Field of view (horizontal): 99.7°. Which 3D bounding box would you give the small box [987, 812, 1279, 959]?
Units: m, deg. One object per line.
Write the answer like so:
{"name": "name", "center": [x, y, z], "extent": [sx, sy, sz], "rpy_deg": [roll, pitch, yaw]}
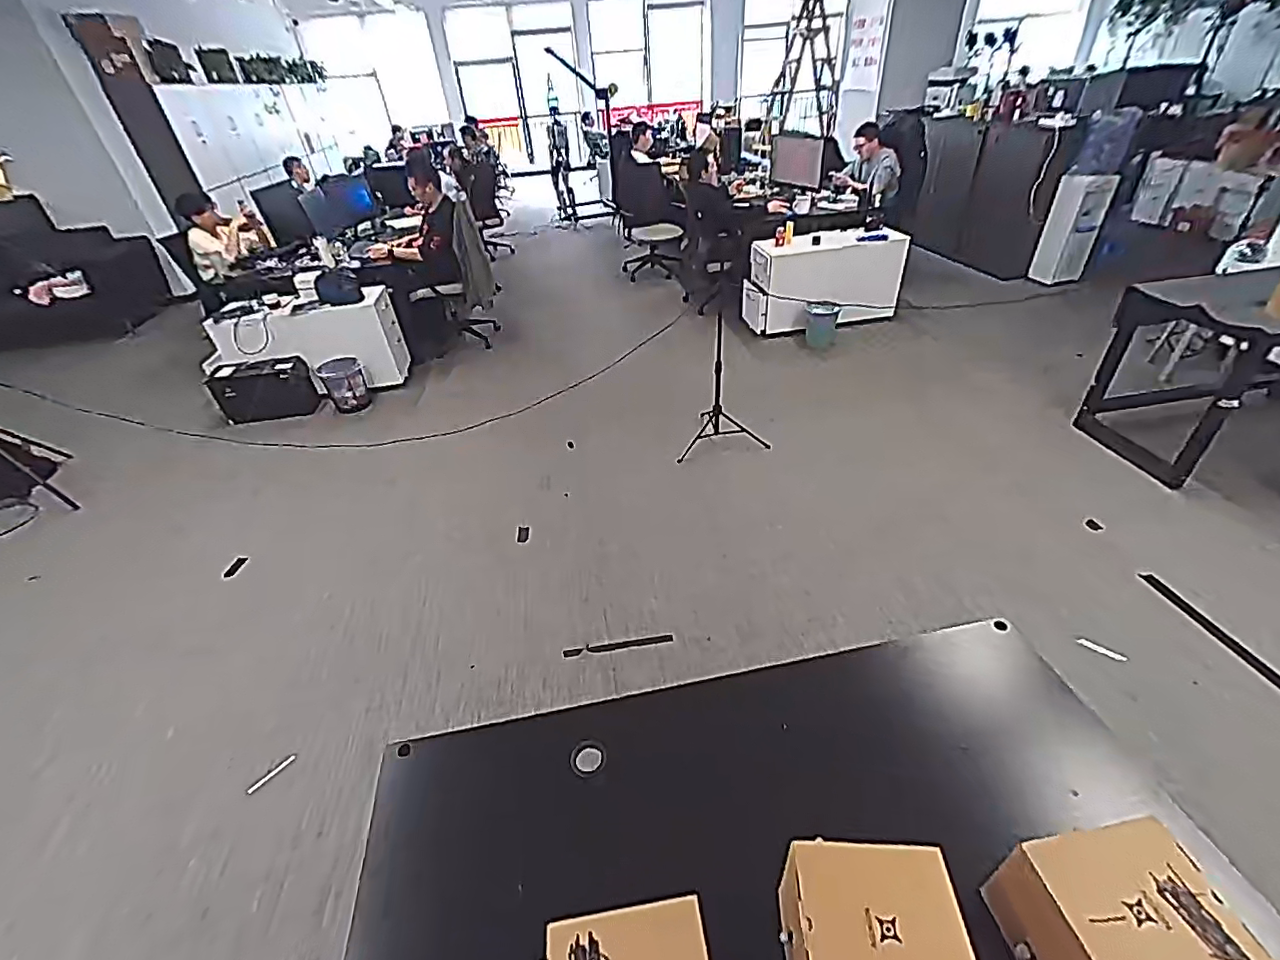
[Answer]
{"name": "small box", "center": [0.550, 0.520, 0.625], "extent": [0.179, 0.176, 0.168], "rpy_deg": [-10, 36, -3]}

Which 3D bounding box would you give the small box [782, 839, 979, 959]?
{"name": "small box", "center": [0.271, 0.547, 0.631], "extent": [0.179, 0.176, 0.168], "rpy_deg": [-3, 36, 5]}
